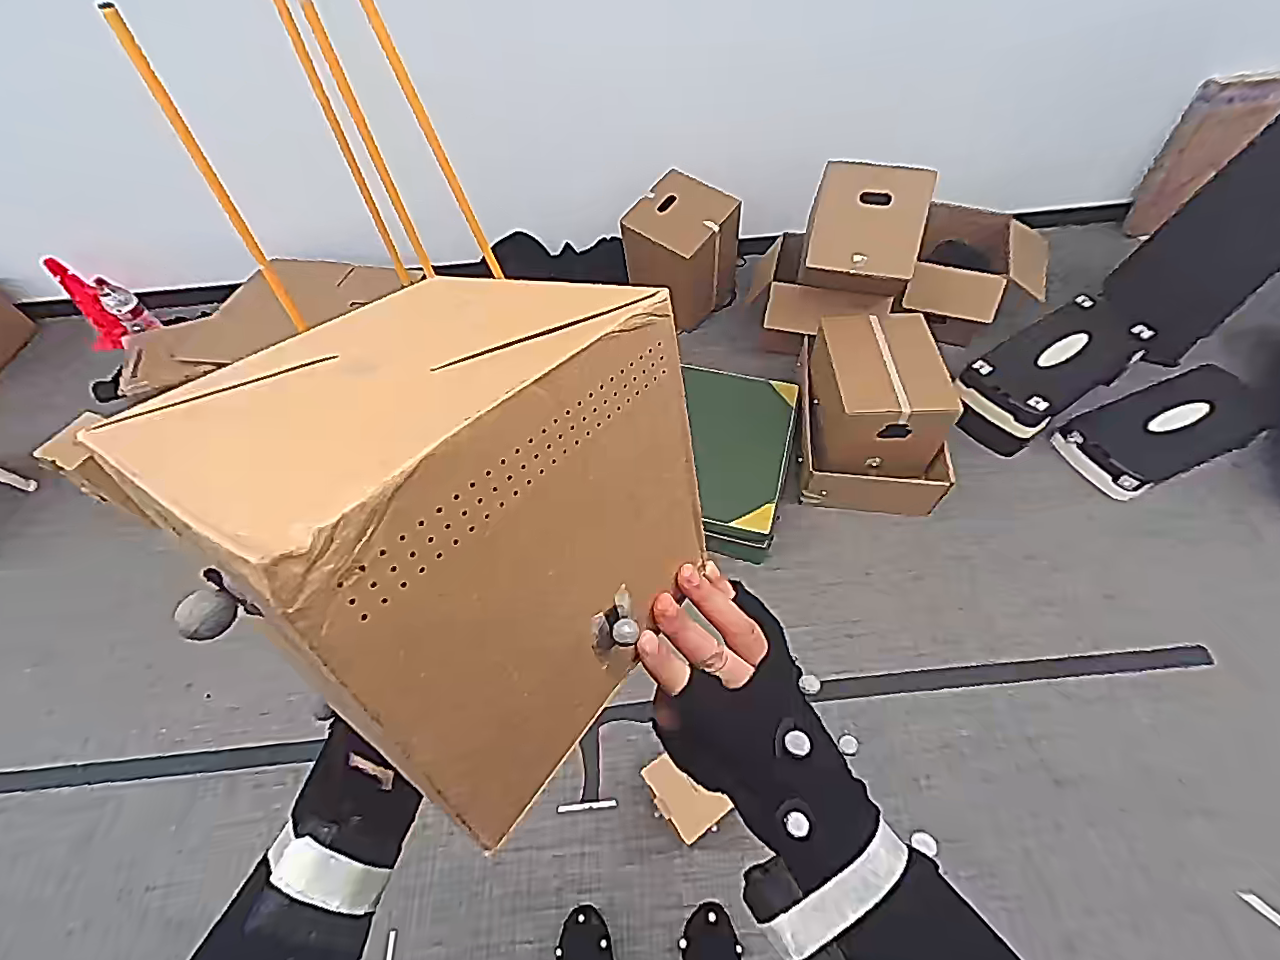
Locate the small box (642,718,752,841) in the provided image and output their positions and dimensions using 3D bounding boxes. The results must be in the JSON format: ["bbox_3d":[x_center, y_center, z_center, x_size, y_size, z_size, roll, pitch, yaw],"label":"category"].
[{"bbox_3d":[0.125,0.671,1.203,0.179,0.176,0.168,-33,59,-19],"label":"small box"}]

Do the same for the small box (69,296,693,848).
[{"bbox_3d":[-0.094,0.019,0.262,0.168,0.176,0.179,15,45,34],"label":"small box"}]
